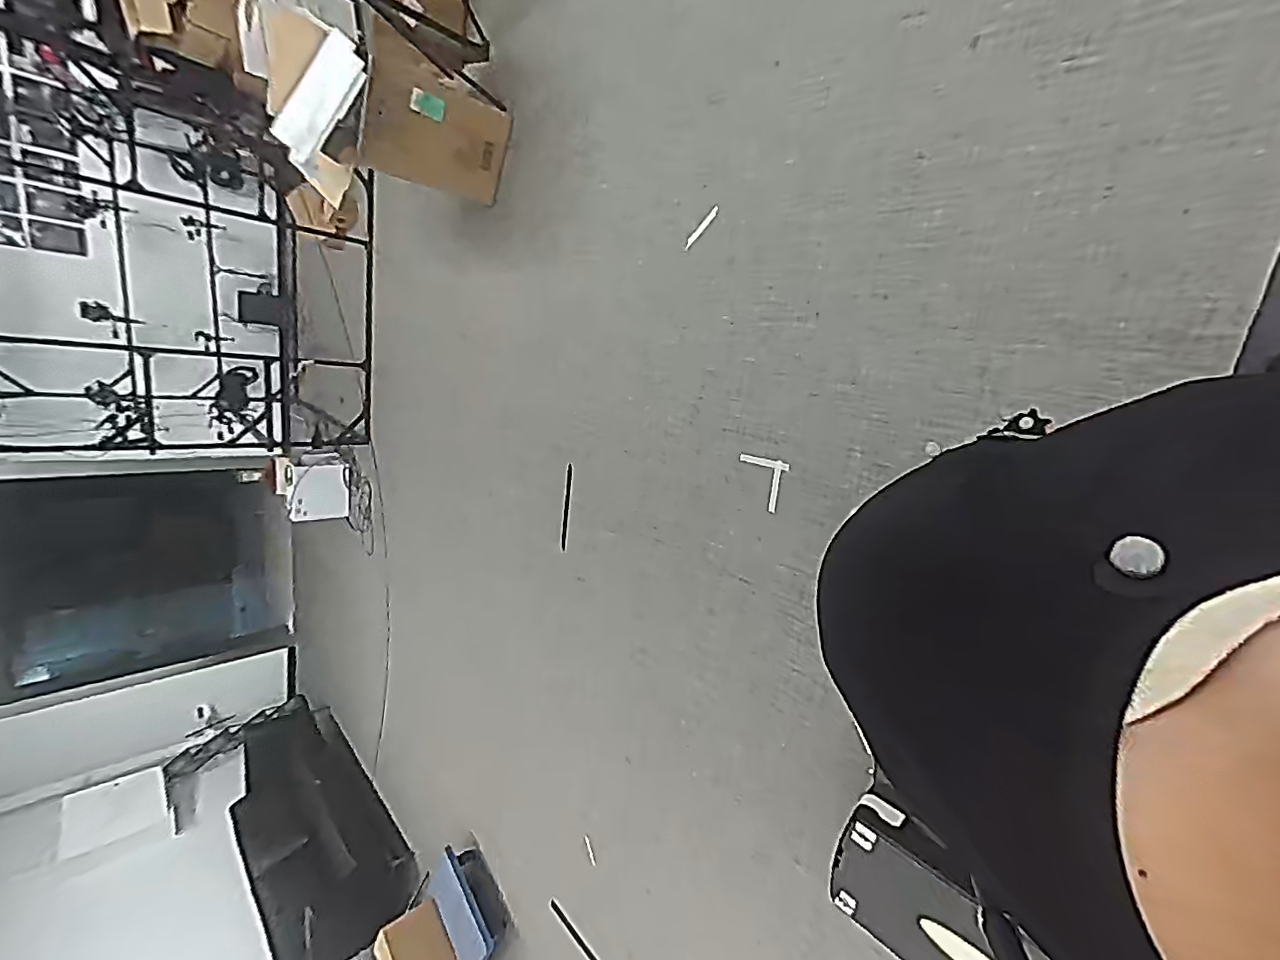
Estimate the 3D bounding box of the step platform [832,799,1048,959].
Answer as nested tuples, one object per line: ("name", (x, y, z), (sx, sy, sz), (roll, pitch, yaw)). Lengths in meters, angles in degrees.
("step platform", (0.773, 1.060, 1.163), (0.684, 0.204, 0.286), (28, 111, 43))
